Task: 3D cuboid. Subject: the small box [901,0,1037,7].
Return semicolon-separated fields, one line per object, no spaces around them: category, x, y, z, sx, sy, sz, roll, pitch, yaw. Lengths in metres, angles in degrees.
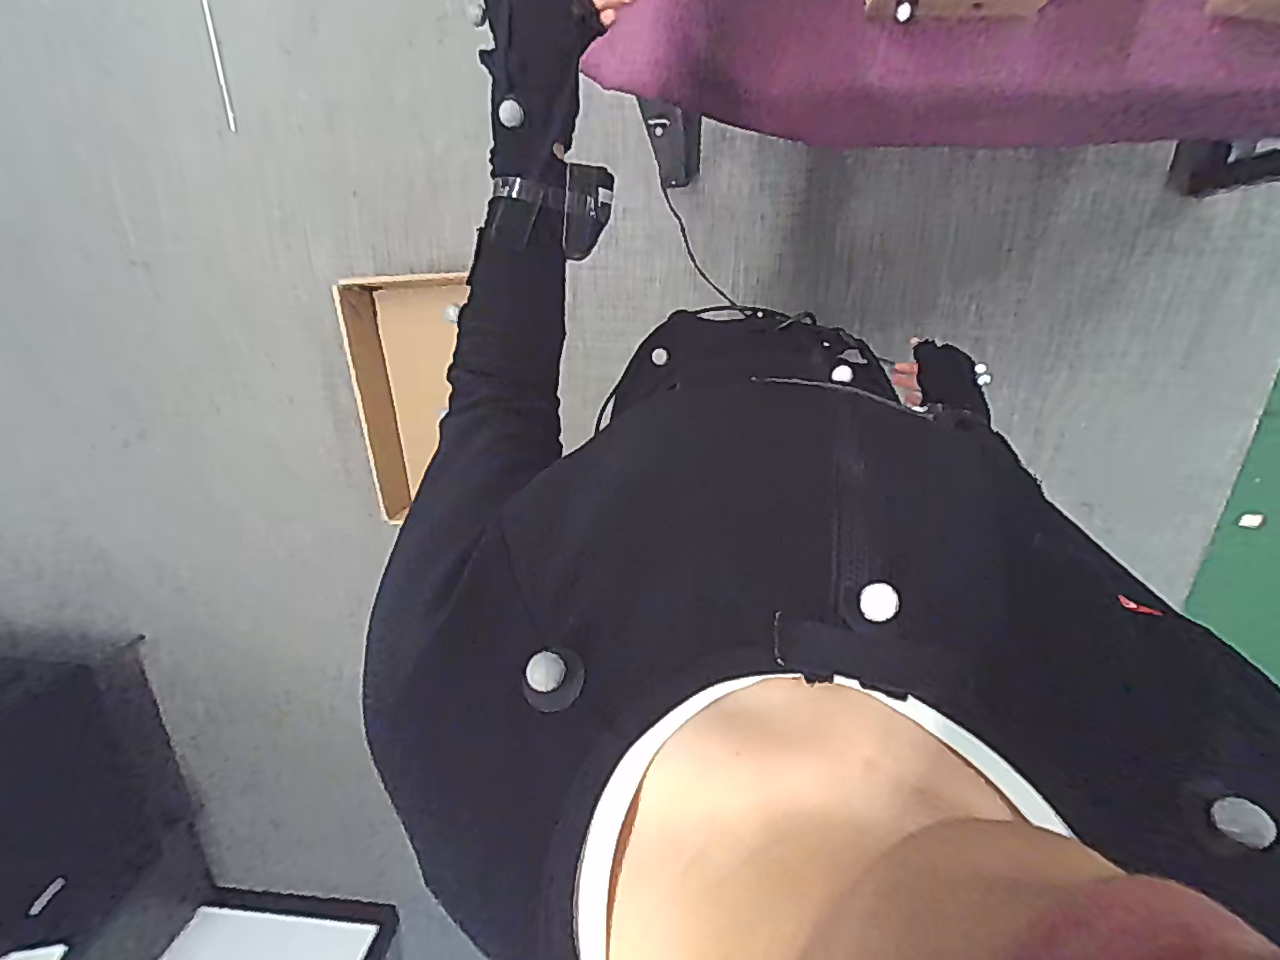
small box;0.309;-0.528;0.440;0.168;0.176;0.179;5;109;5
